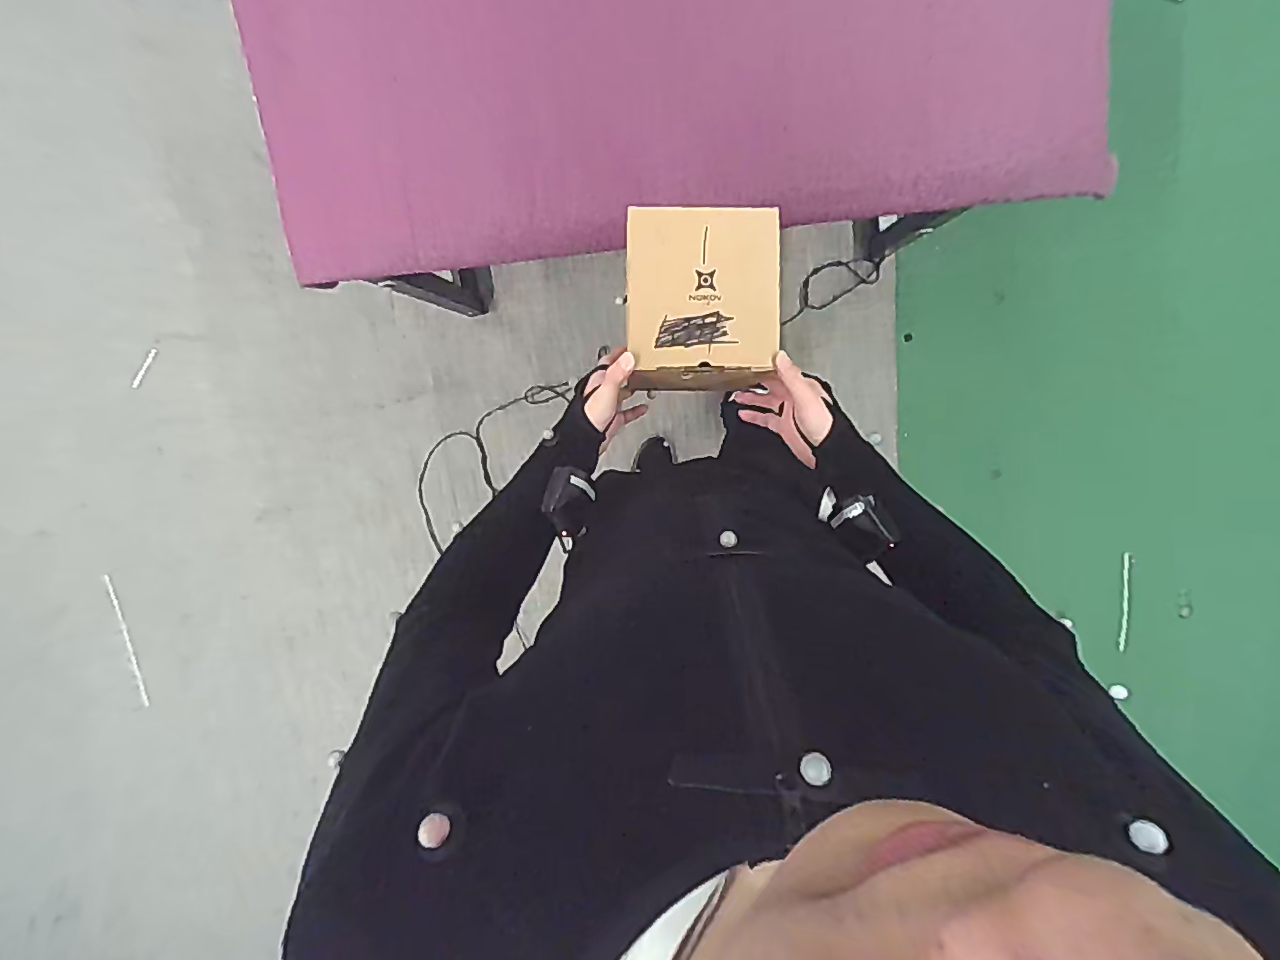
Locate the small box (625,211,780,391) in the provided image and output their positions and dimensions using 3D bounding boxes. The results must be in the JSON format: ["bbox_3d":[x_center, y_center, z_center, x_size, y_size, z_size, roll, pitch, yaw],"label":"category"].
[{"bbox_3d":[0.067,-0.205,0.666,0.168,0.176,0.179,0,91,-3],"label":"small box"}]
